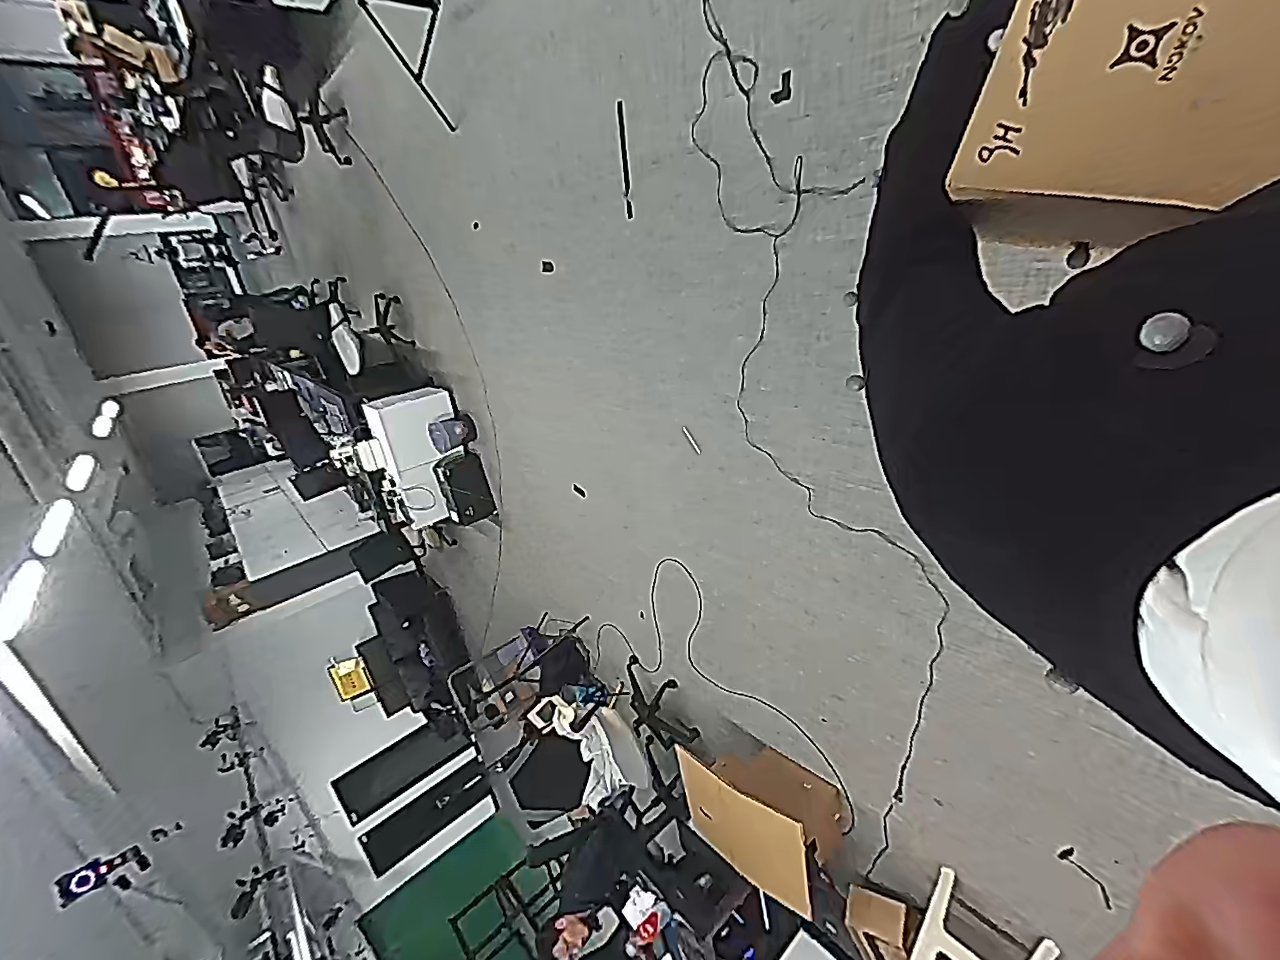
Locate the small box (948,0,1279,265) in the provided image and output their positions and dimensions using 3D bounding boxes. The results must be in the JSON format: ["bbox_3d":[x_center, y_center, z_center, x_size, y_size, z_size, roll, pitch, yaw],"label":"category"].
[{"bbox_3d":[0.357,-0.263,0.384,0.179,0.176,0.168,28,112,32],"label":"small box"}]
